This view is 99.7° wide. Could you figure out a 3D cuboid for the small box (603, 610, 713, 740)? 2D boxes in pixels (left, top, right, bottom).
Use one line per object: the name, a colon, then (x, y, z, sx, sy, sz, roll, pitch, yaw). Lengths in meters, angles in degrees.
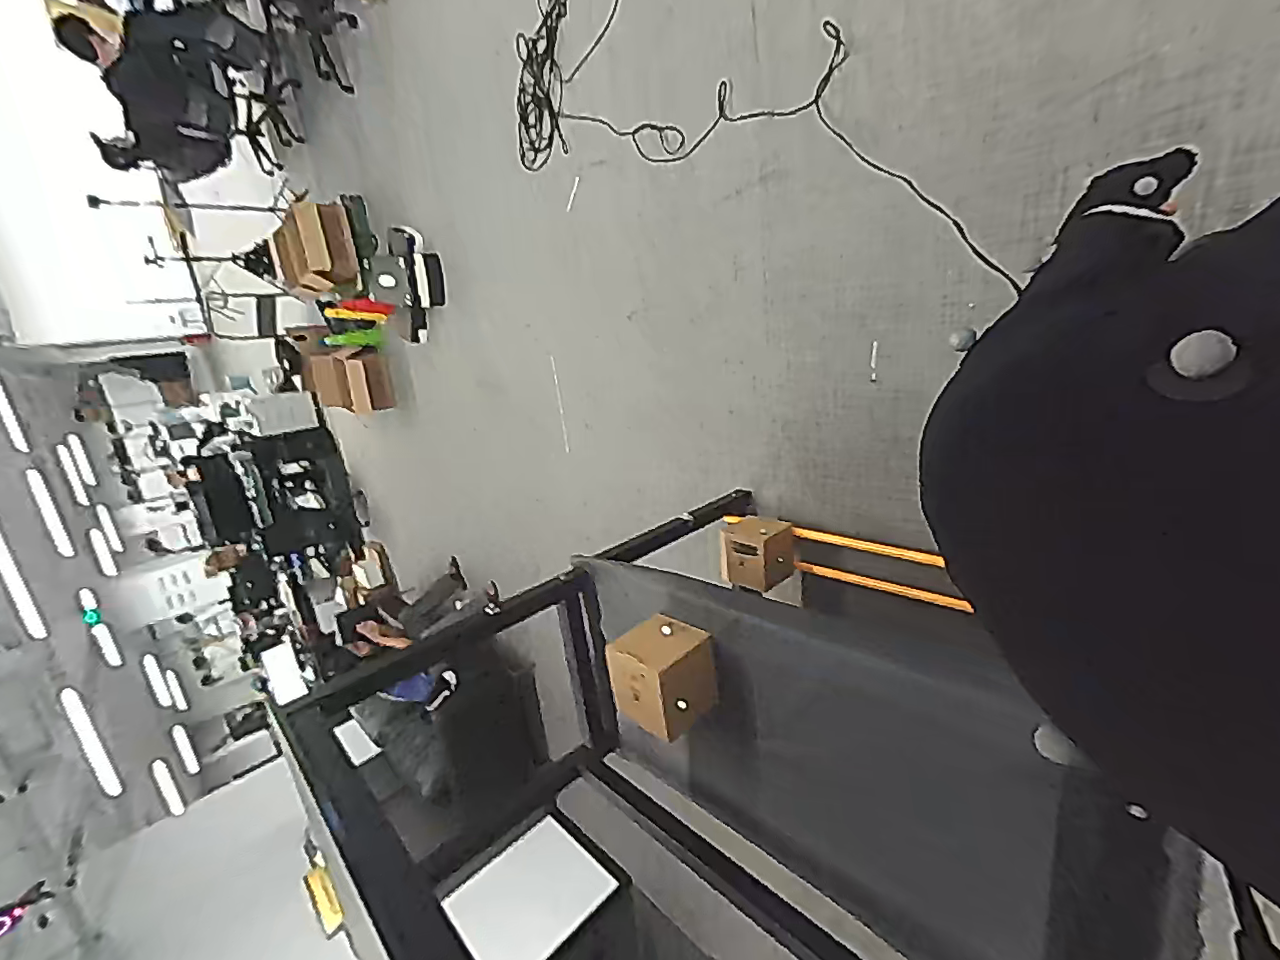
small box: (0.044, 0.415, 1.180, 0.168, 0.176, 0.179, 8, 112, 45)
